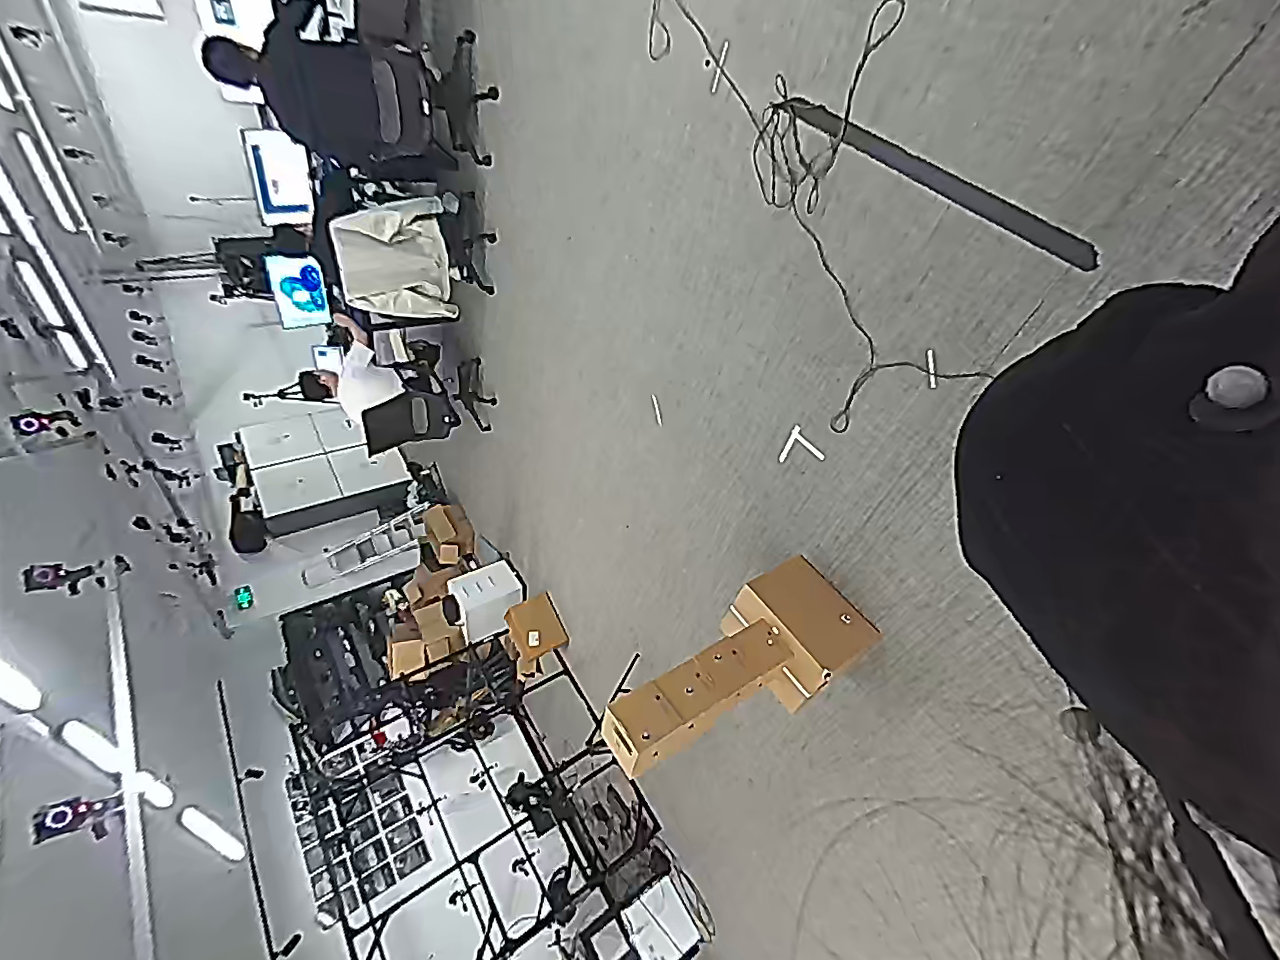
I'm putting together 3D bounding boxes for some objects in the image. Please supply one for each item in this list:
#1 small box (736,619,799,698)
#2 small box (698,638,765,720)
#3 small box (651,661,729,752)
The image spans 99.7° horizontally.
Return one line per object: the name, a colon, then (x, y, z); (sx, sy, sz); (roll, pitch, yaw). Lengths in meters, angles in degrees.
small box: (0.423, 0.619, 1.884); (0.168, 0.176, 0.179); (48, 141, 32)
small box: (0.291, 0.658, 1.798); (0.168, 0.176, 0.179); (48, 143, 33)
small box: (0.160, 0.710, 1.712); (0.168, 0.176, 0.179); (45, 140, 37)
